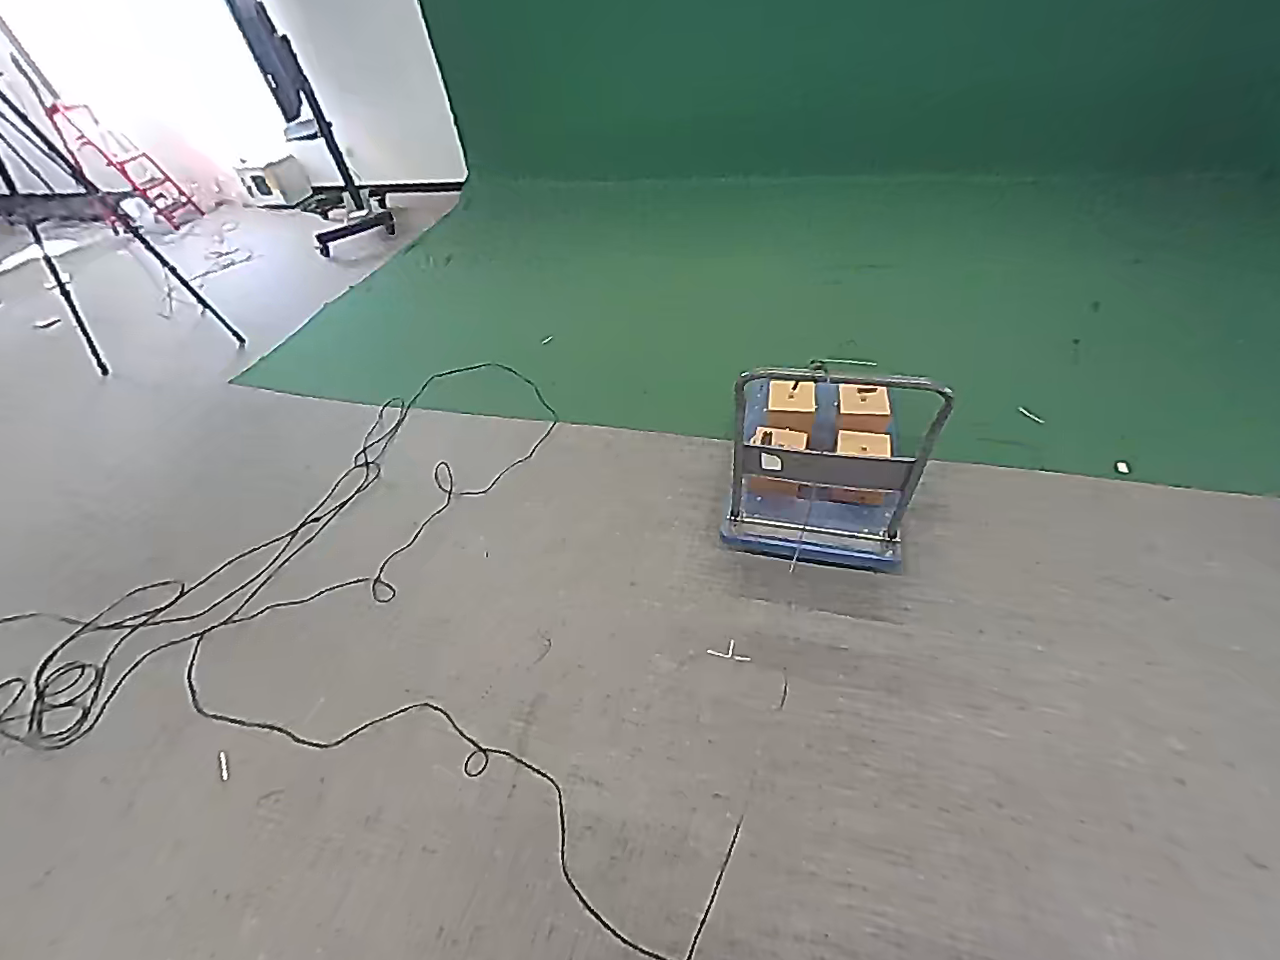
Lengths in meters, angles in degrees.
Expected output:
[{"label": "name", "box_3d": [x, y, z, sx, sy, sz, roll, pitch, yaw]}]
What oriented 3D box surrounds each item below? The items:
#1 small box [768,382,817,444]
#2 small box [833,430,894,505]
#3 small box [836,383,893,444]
[{"label": "small box", "box_3d": [0.579, -0.253, 2.054, 0.168, 0.176, 0.179, 5, 48, 12]}, {"label": "small box", "box_3d": [0.751, -0.041, 1.826, 0.168, 0.176, 0.179, 8, 49, 16]}, {"label": "small box", "box_3d": [0.824, -0.236, 1.998, 0.168, 0.176, 0.179, 4, 49, 14]}]
